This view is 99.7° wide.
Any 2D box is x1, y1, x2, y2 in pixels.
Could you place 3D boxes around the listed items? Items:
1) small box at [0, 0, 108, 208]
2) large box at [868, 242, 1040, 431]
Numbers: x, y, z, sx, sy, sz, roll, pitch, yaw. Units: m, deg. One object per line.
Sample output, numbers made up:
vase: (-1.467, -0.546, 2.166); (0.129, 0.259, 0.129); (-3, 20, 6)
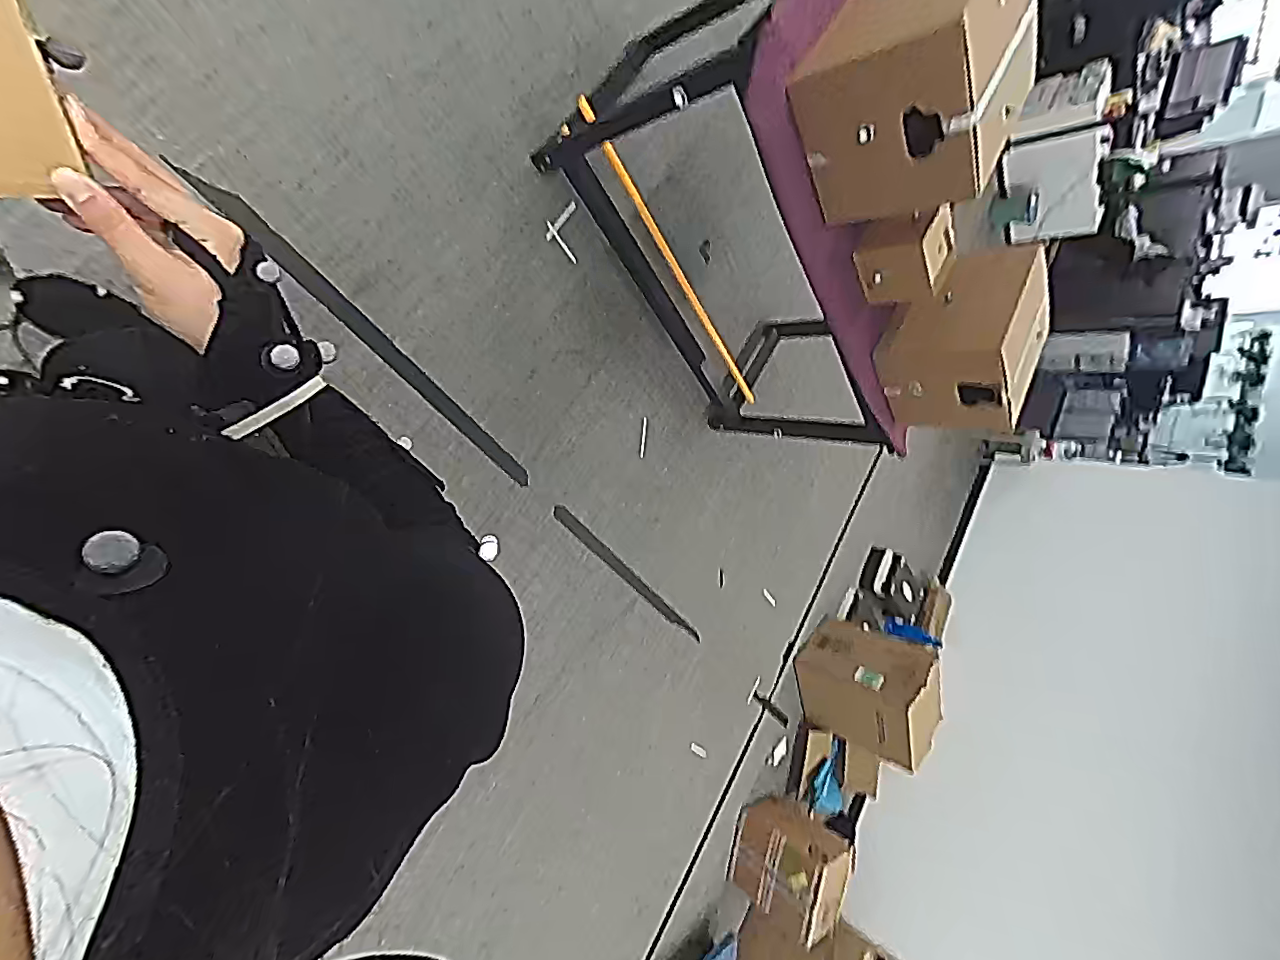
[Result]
small box: (-0.388, -0.231, 0.241); (0.179, 0.176, 0.168); (-18, 133, -35)
large box: (0.899, -0.394, 1.541); (0.320, 0.320, 0.408); (48, 64, -40)
